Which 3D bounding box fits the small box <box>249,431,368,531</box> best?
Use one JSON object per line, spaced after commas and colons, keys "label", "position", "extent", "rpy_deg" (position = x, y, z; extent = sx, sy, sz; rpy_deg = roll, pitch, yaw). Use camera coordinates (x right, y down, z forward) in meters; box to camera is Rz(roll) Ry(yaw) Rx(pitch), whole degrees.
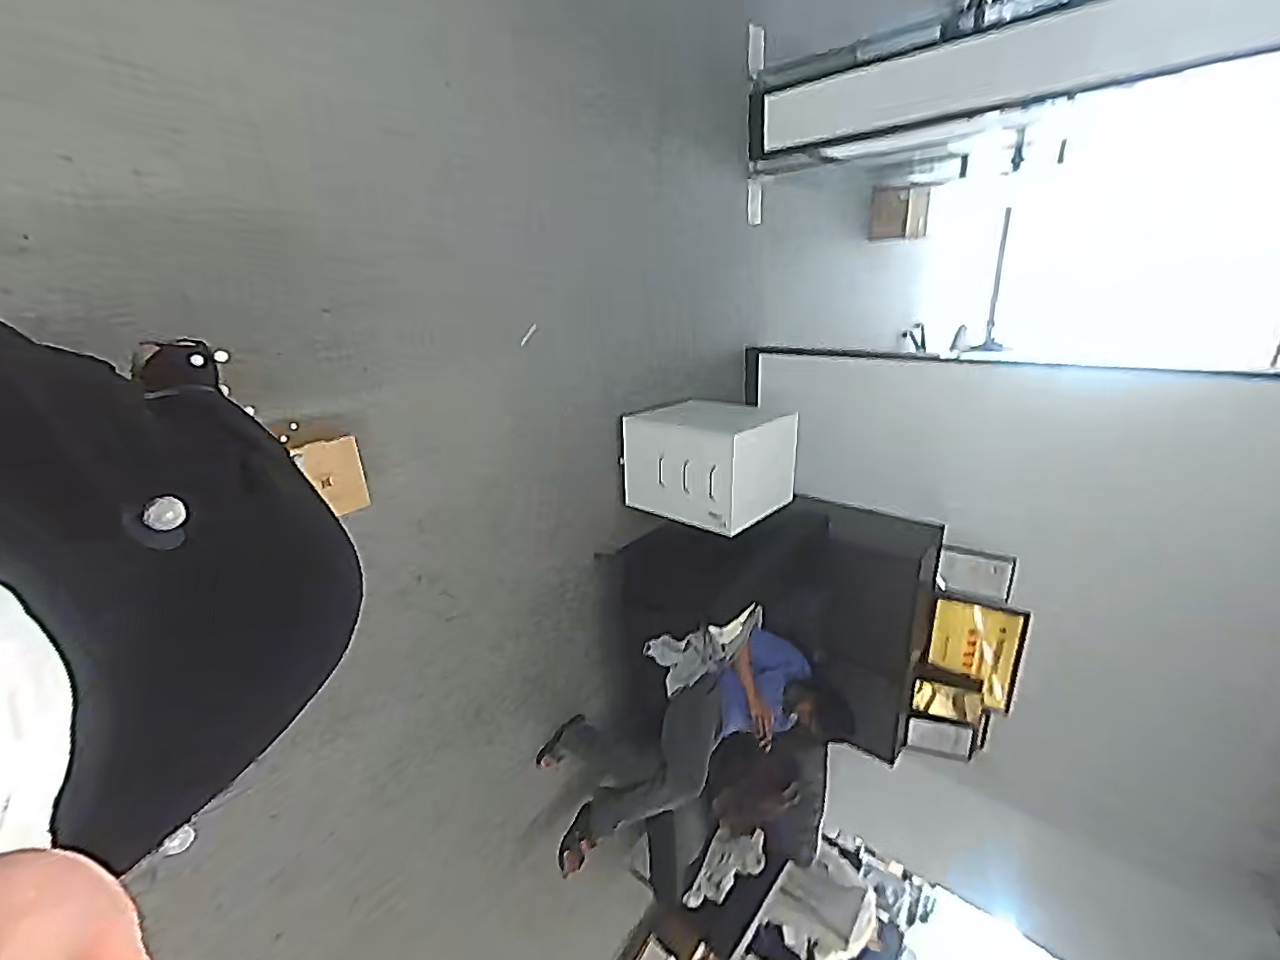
{"label": "small box", "position": [-0.762, -0.009, 1.242], "extent": [0.168, 0.176, 0.179], "rpy_deg": [-26, 122, -44]}
